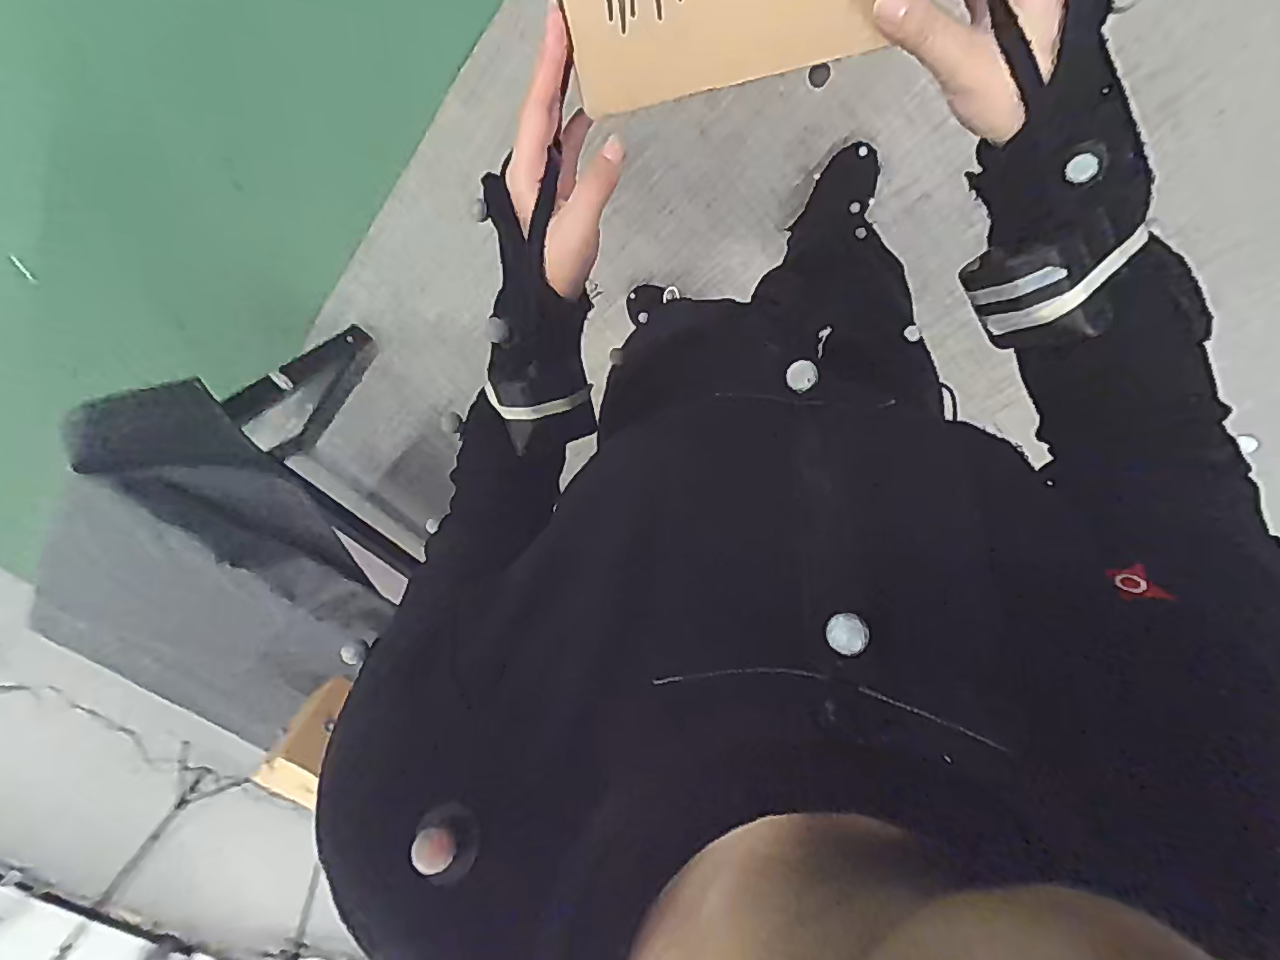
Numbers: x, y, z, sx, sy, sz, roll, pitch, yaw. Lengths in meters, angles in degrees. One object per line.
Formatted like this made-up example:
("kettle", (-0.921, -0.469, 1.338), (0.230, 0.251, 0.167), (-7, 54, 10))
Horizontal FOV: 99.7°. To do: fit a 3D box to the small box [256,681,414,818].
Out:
("small box", (-0.580, 0.513, 1.045), (0.179, 0.176, 0.168), (41, 124, -18))
